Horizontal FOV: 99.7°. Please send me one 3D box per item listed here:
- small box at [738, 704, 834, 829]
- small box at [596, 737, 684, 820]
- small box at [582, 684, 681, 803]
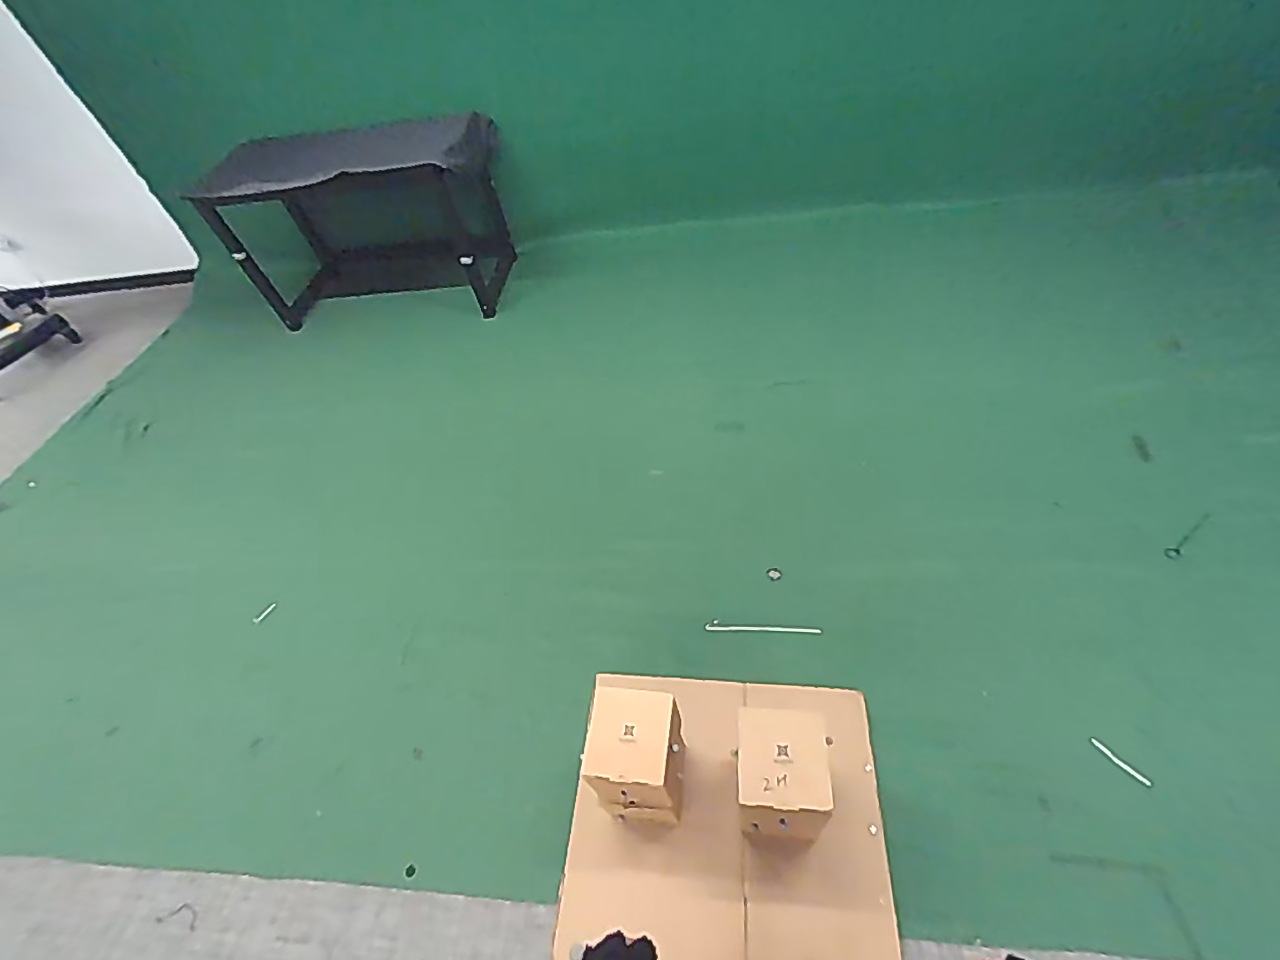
[{"bbox_3d":[0.278,0.564,1.065,0.168,0.176,0.179,-1,49,11],"label":"small box"},{"bbox_3d":[0.009,0.666,1.247,0.168,0.176,0.179,0,49,12],"label":"small box"},{"bbox_3d":[-0.008,0.552,1.133,0.168,0.176,0.179,2,50,12],"label":"small box"}]
